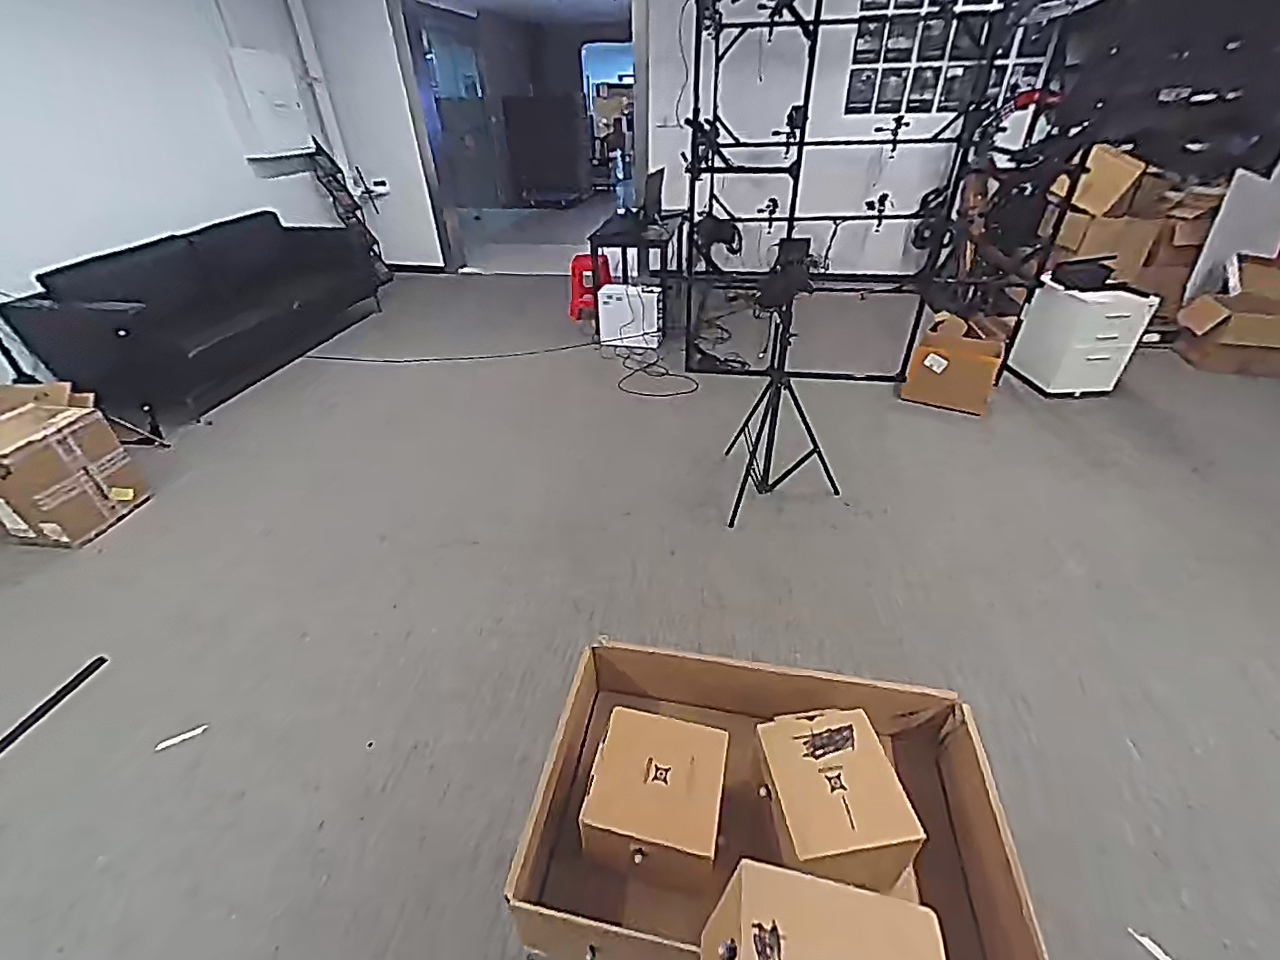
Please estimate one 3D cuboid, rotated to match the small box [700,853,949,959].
[{"bbox_3d":[0.149,0.462,0.455,0.179,0.176,0.168,13,32,4],"label":"small box"}]
